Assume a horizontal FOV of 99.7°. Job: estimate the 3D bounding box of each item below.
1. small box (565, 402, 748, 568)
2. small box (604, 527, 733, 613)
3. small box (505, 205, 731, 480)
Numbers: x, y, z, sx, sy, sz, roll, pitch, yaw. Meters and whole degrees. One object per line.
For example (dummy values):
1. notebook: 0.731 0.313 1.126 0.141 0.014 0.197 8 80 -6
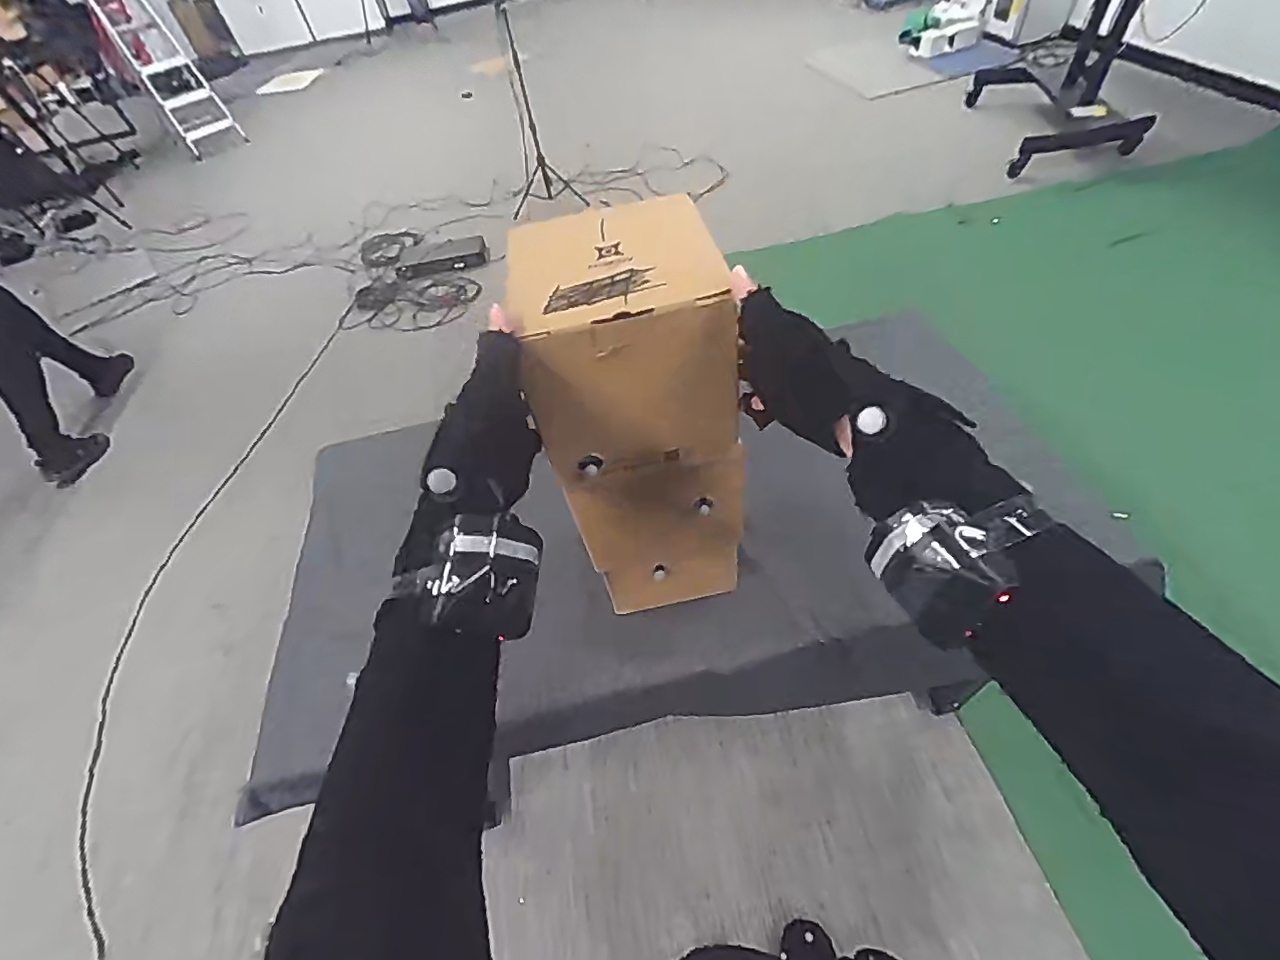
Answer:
1. small box: 0.009 -0.026 0.607 0.179 0.176 0.168 -15 50 -3
2. small box: 0.027 0.066 0.764 0.179 0.176 0.168 -14 49 -3
3. small box: -0.015 -0.116 0.492 0.168 0.176 0.179 -11 48 0
